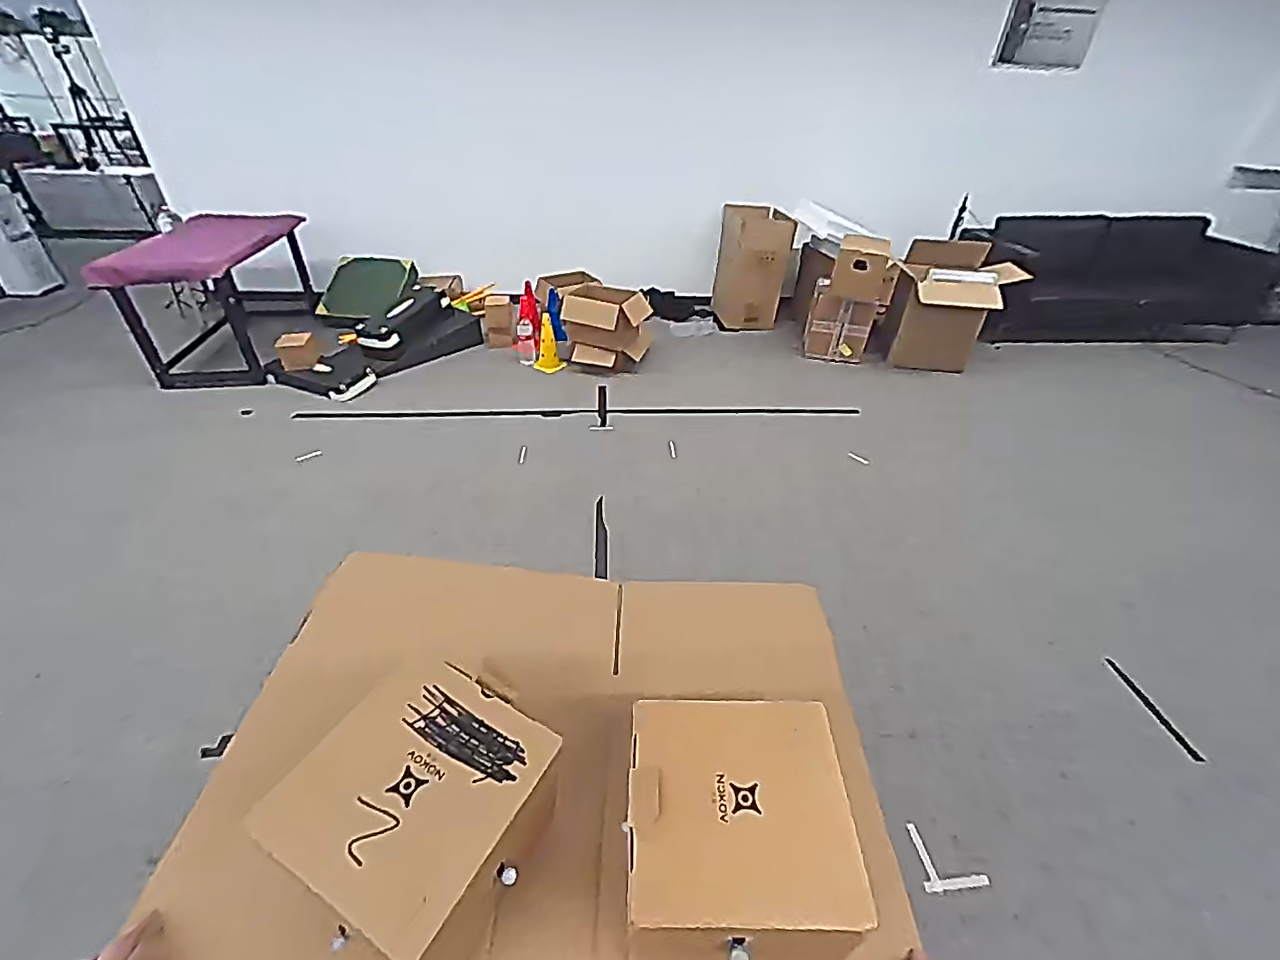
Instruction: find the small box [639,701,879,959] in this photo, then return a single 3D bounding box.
[{"bbox_3d":[0.089,0.325,0.500,0.179,0.176,0.168,0,39,2],"label":"small box"}]
